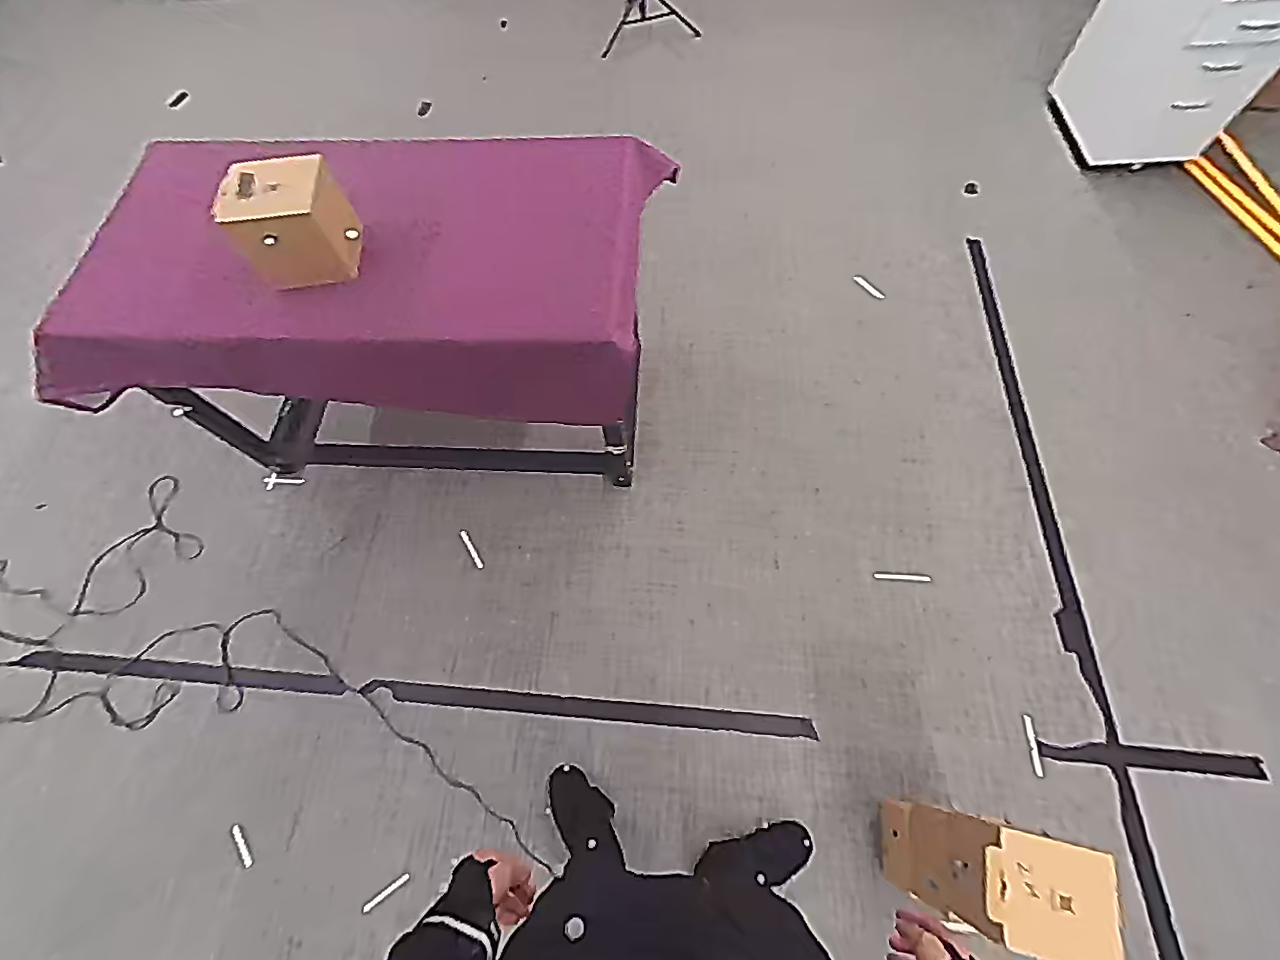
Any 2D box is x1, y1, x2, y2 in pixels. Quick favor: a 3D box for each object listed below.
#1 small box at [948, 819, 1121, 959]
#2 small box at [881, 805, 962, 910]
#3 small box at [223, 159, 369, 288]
[{"bbox_3d":[0.653,0.695,0.912,0.179,0.176,0.168,11,67,8],"label":"small box"},{"bbox_3d":[0.653,0.840,1.209,0.179,0.176,0.168,6,66,6],"label":"small box"},{"bbox_3d":[-0.682,-0.512,1.095,0.179,0.176,0.168,-7,65,-1],"label":"small box"}]
